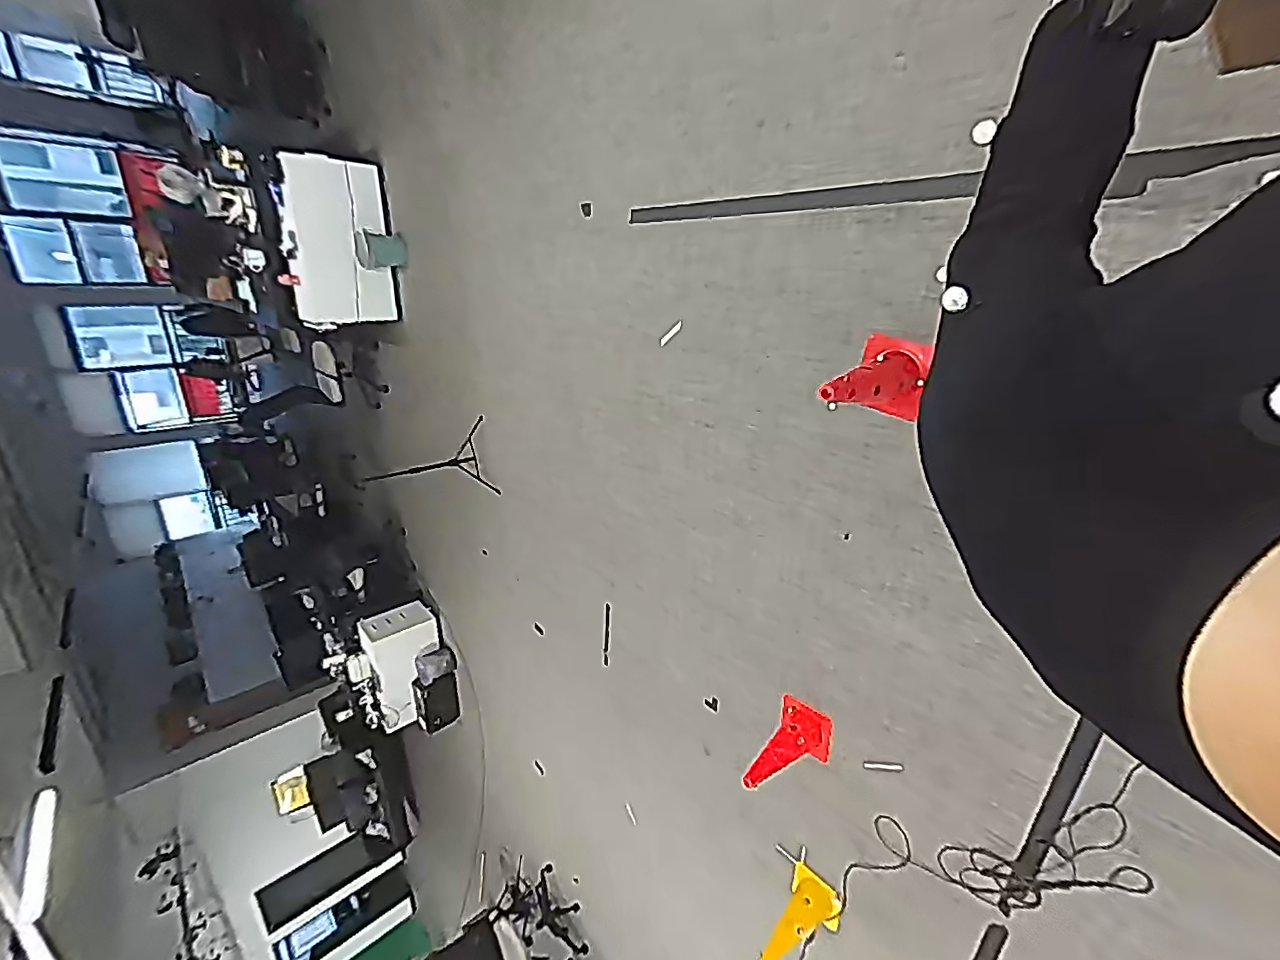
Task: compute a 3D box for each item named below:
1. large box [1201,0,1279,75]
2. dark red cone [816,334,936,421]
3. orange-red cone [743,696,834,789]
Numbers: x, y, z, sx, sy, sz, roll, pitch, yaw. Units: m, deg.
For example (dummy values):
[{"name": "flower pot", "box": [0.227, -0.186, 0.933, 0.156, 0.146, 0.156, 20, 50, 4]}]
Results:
[{"name": "large box", "box": [0.563, -0.439, 0.230, 0.408, 0.320, 0.320, 18, 120, 43]}, {"name": "dark red cone", "box": [0.548, -0.239, 1.335, 0.201, 0.394, 0.202, 29, 124, 39]}, {"name": "orange-red cone", "box": [0.483, 0.947, 1.865, 0.198, 0.360, 0.199, 20, 119, 45]}]
